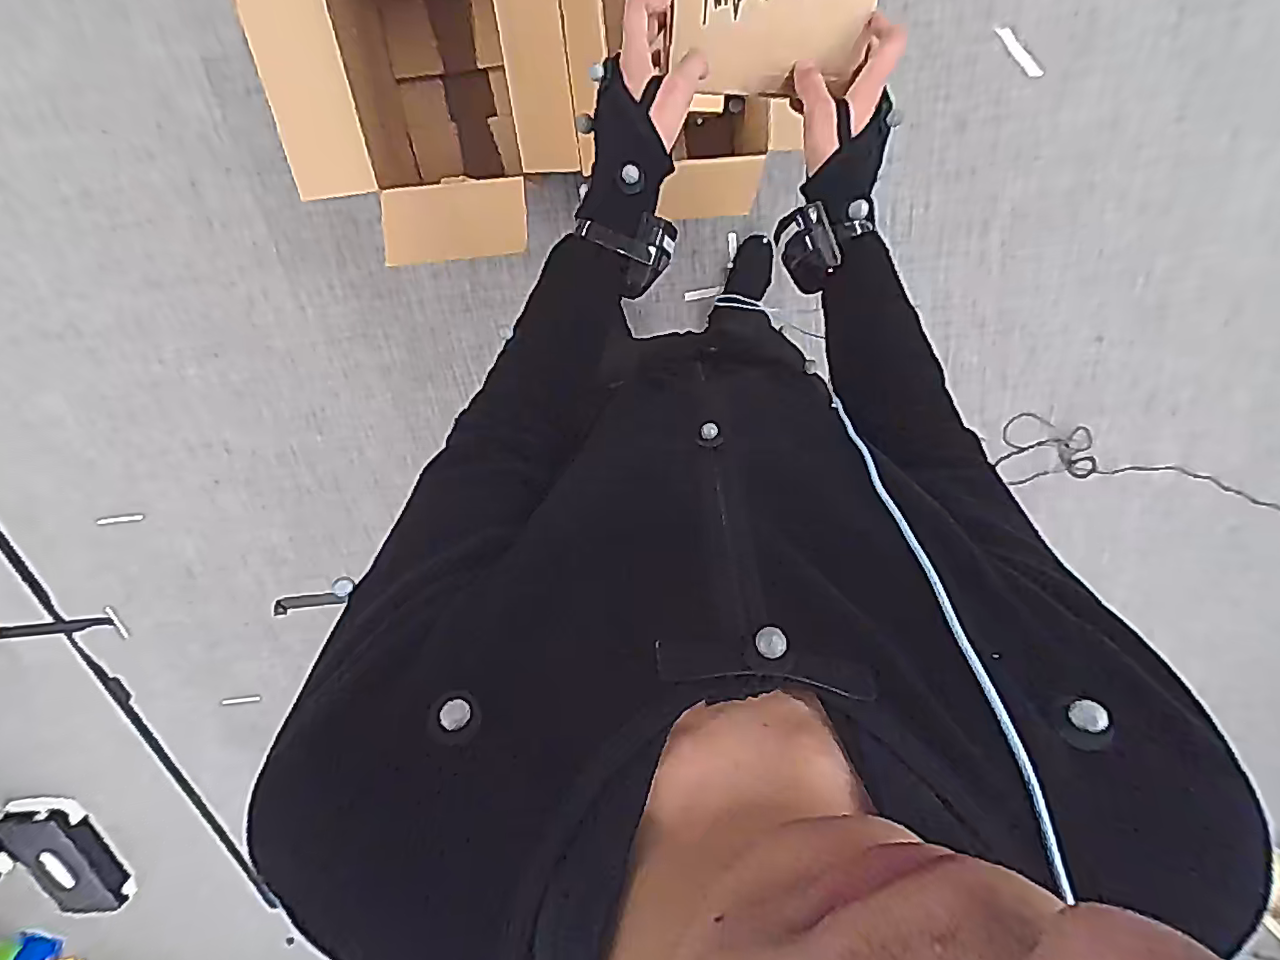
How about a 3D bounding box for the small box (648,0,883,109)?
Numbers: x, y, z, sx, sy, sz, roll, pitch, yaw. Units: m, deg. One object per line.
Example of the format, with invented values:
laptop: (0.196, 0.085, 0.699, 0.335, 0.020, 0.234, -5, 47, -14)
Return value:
small box: (0.105, -0.443, 0.492, 0.179, 0.176, 0.168, -1, 126, -7)
